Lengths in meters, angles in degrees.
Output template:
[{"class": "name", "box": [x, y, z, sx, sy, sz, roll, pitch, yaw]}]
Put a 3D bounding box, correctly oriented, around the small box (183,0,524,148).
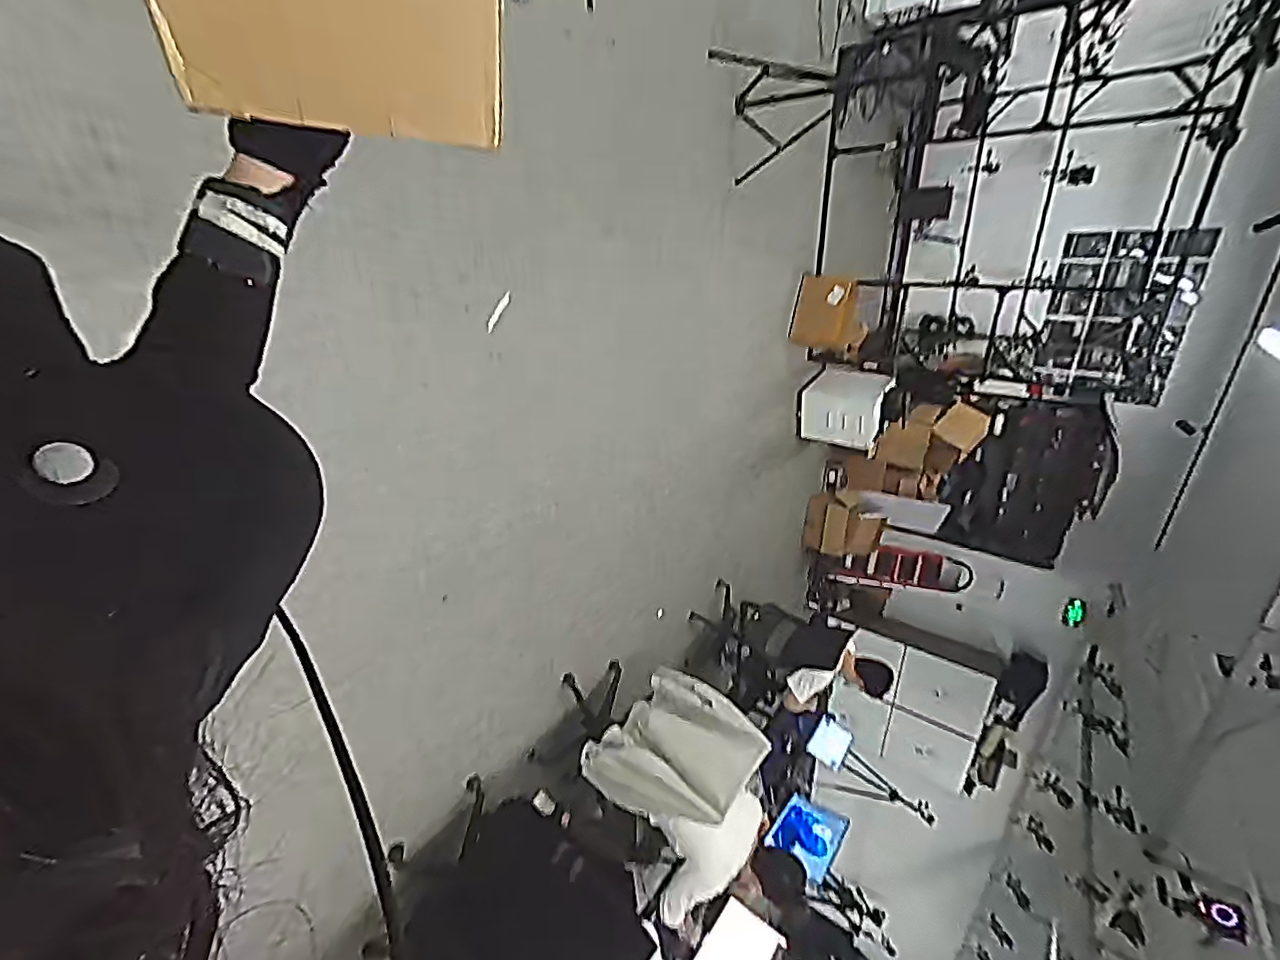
[{"class": "small box", "box": [-0.152, -0.315, 0.305, 0.168, 0.179, 0.176, 1, 134, -16]}]
